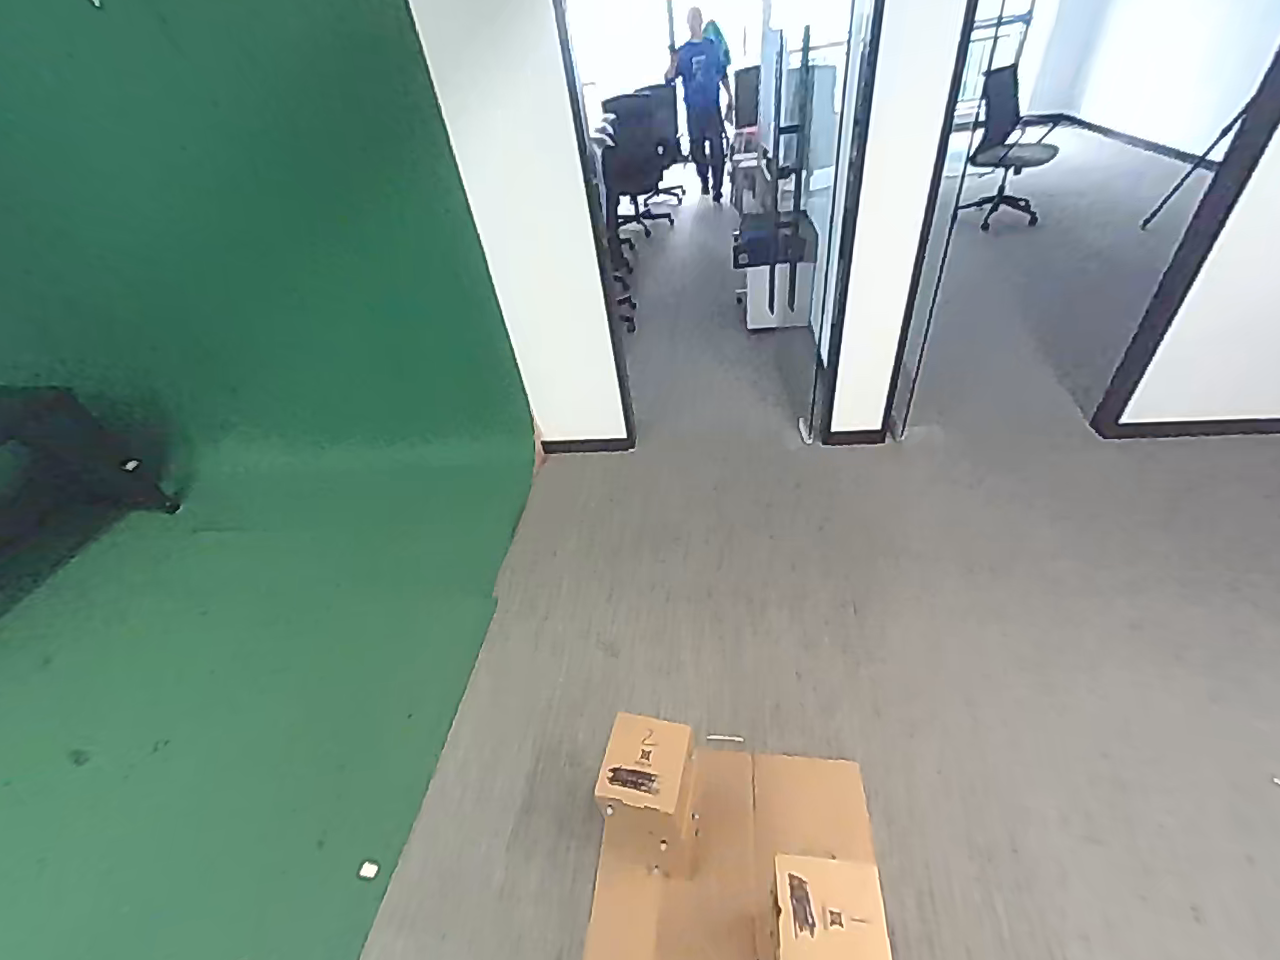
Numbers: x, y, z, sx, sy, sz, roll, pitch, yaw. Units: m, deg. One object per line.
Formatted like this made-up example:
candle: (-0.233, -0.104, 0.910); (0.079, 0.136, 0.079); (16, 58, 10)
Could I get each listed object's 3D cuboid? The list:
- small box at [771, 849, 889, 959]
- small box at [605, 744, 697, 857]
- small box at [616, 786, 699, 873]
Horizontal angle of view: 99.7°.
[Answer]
small box: (0.322, 0.776, 0.948); (0.179, 0.176, 0.168); (-1, 42, 11)
small box: (0.036, 0.754, 1.270); (0.179, 0.176, 0.168); (5, 42, 16)
small box: (0.053, 0.875, 1.382); (0.179, 0.176, 0.168); (6, 42, 16)
